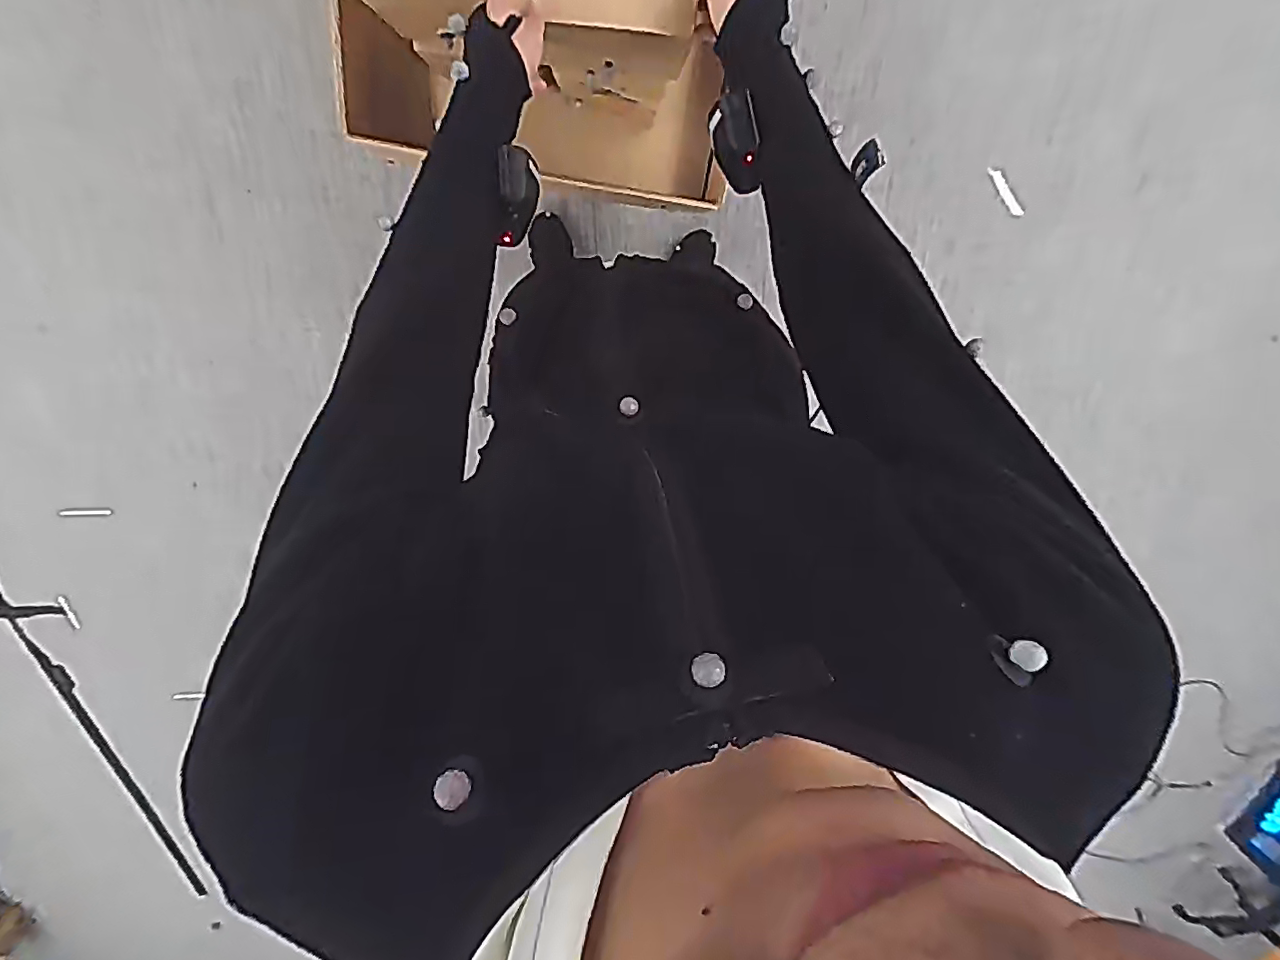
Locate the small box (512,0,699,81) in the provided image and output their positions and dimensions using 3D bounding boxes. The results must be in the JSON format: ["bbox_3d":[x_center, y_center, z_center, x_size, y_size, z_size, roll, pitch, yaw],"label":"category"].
[{"bbox_3d":[-0.031,-0.531,0.552,0.179,0.176,0.168,3,115,-5],"label":"small box"}]

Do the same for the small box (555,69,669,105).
[{"bbox_3d":[-0.027,-0.613,0.695,0.168,0.176,0.179,11,114,-7],"label":"small box"}]
